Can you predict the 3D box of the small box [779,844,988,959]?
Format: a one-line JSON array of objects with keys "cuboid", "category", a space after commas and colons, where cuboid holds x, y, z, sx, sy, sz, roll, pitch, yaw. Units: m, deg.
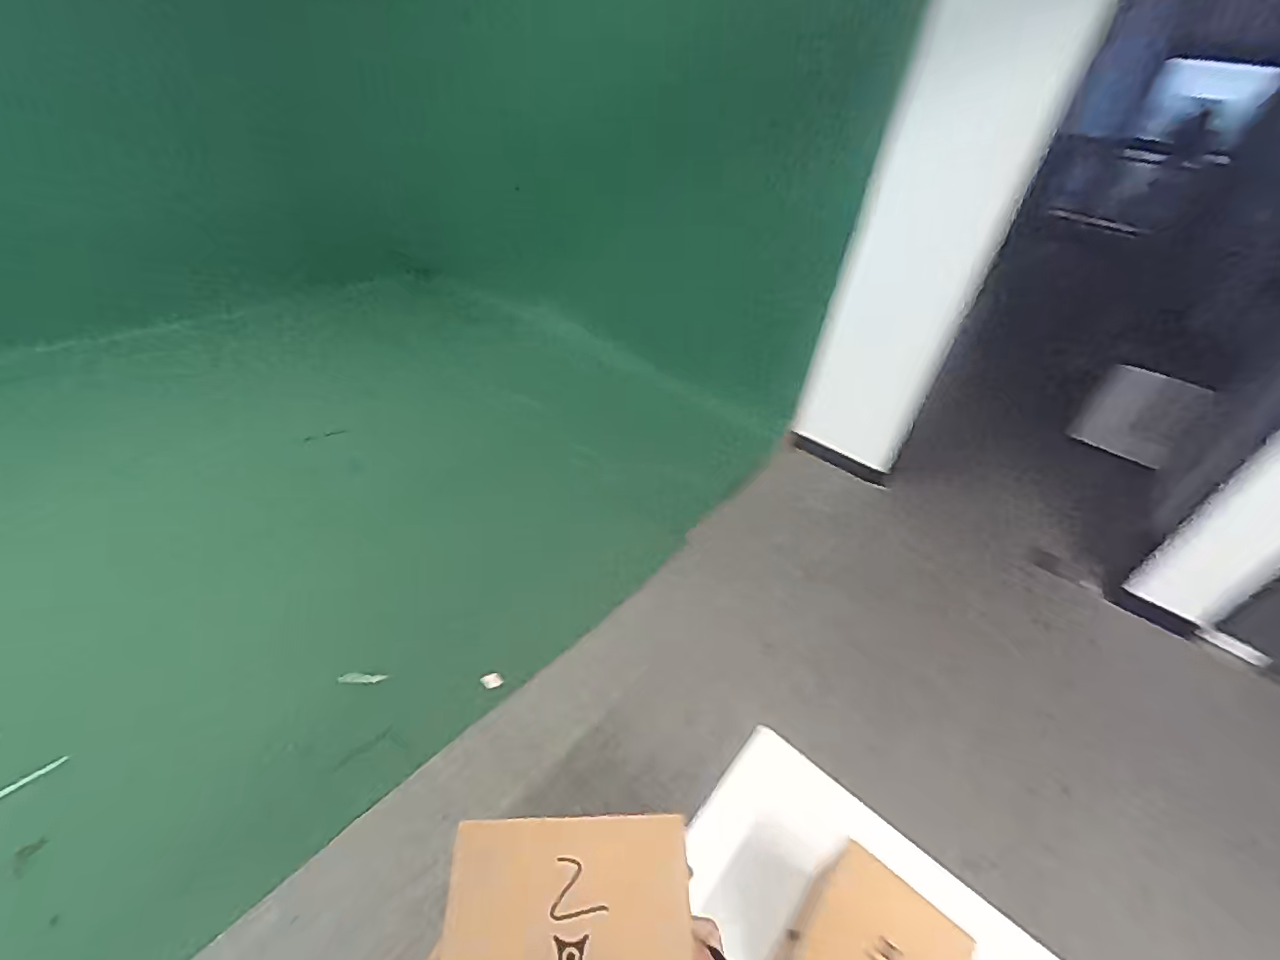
[{"cuboid": [0.272, 0.597, 0.647, 0.168, 0.176, 0.179, 32, 44, 28], "category": "small box"}]
